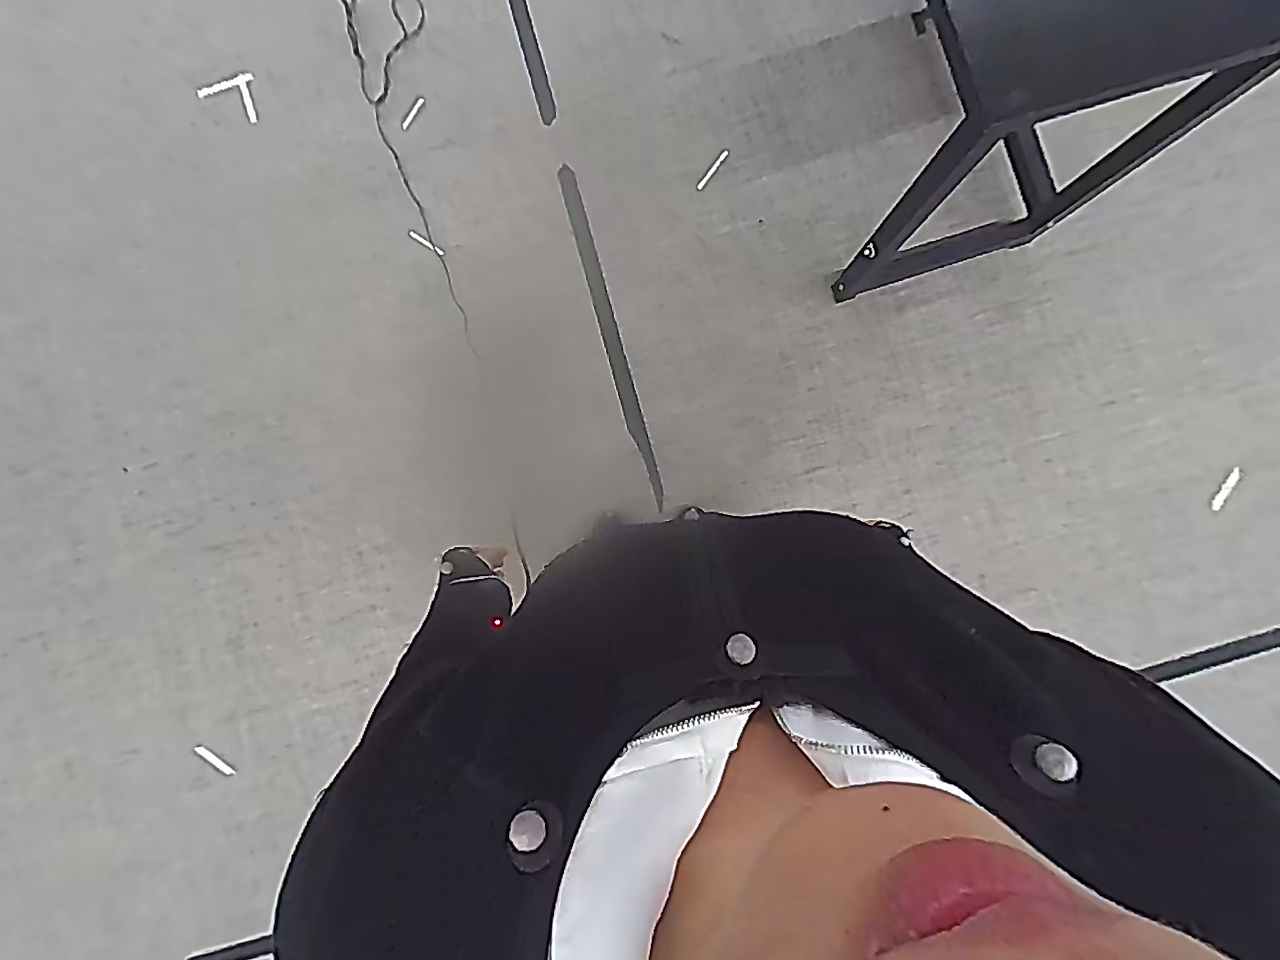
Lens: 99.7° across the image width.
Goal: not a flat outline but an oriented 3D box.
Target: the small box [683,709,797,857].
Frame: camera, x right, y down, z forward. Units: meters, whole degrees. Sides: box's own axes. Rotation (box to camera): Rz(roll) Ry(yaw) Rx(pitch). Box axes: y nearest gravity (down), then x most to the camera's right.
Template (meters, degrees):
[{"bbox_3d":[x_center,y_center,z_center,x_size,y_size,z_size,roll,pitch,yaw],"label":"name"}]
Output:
[{"bbox_3d":[0.189,0.586,1.067,0.168,0.176,0.179,-18,85,2],"label":"small box"}]

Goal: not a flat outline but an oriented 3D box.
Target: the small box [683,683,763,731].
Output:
[{"bbox_3d":[0.202,0.594,1.232,0.168,0.176,0.179,-19,87,2],"label":"small box"}]

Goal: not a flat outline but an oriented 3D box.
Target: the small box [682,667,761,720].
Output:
[{"bbox_3d":[0.212,0.605,1.395,0.179,0.176,0.168,-17,86,1],"label":"small box"}]
